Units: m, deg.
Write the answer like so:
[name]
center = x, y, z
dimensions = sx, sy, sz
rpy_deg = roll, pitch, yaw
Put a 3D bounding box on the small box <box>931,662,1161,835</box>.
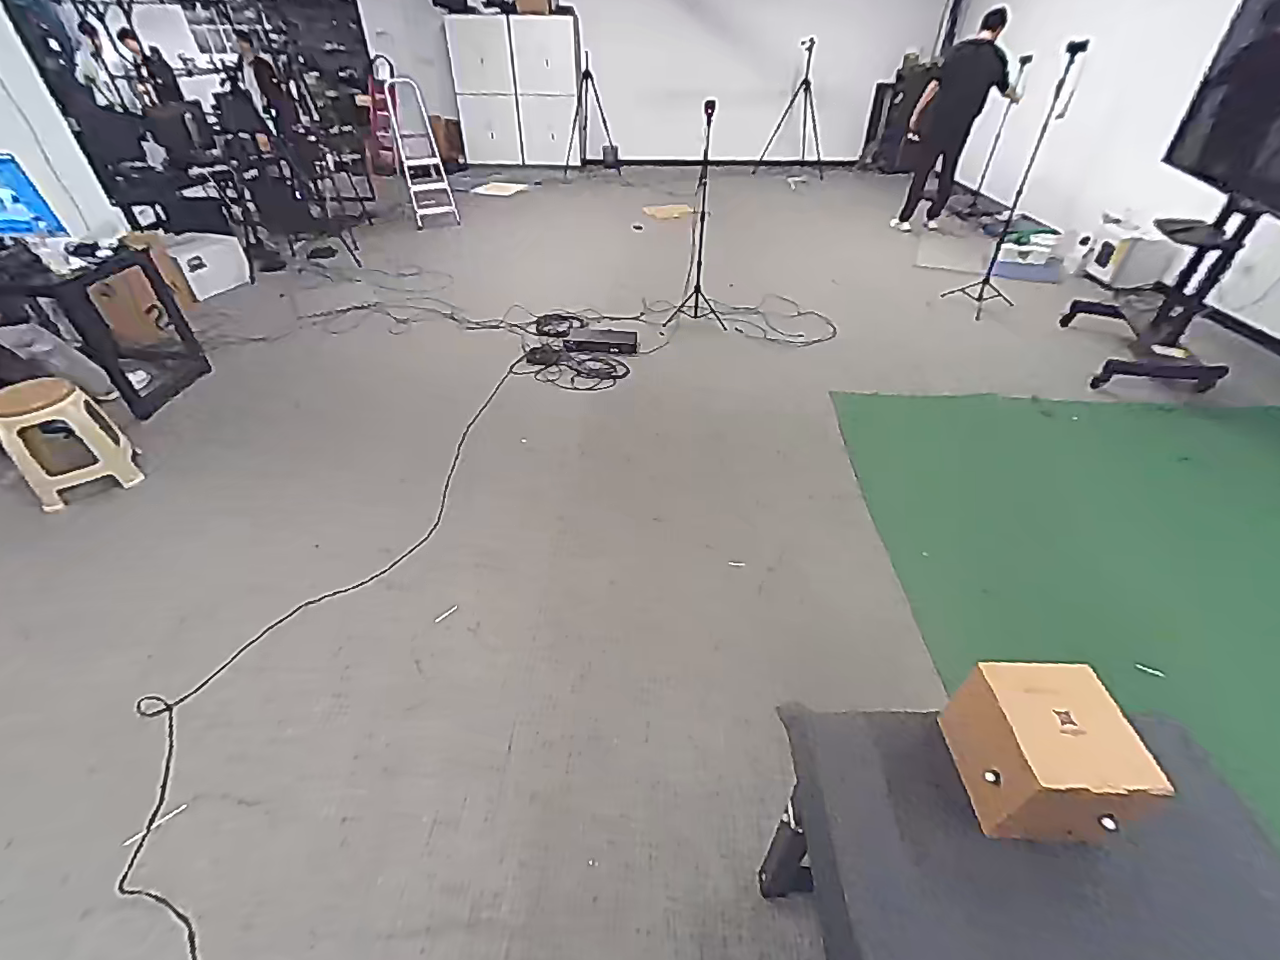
[small box]
center = 0.562, 0.388, 0.781
dimensions = 0.168, 0.176, 0.179
rpy_deg = 2, 37, -3
